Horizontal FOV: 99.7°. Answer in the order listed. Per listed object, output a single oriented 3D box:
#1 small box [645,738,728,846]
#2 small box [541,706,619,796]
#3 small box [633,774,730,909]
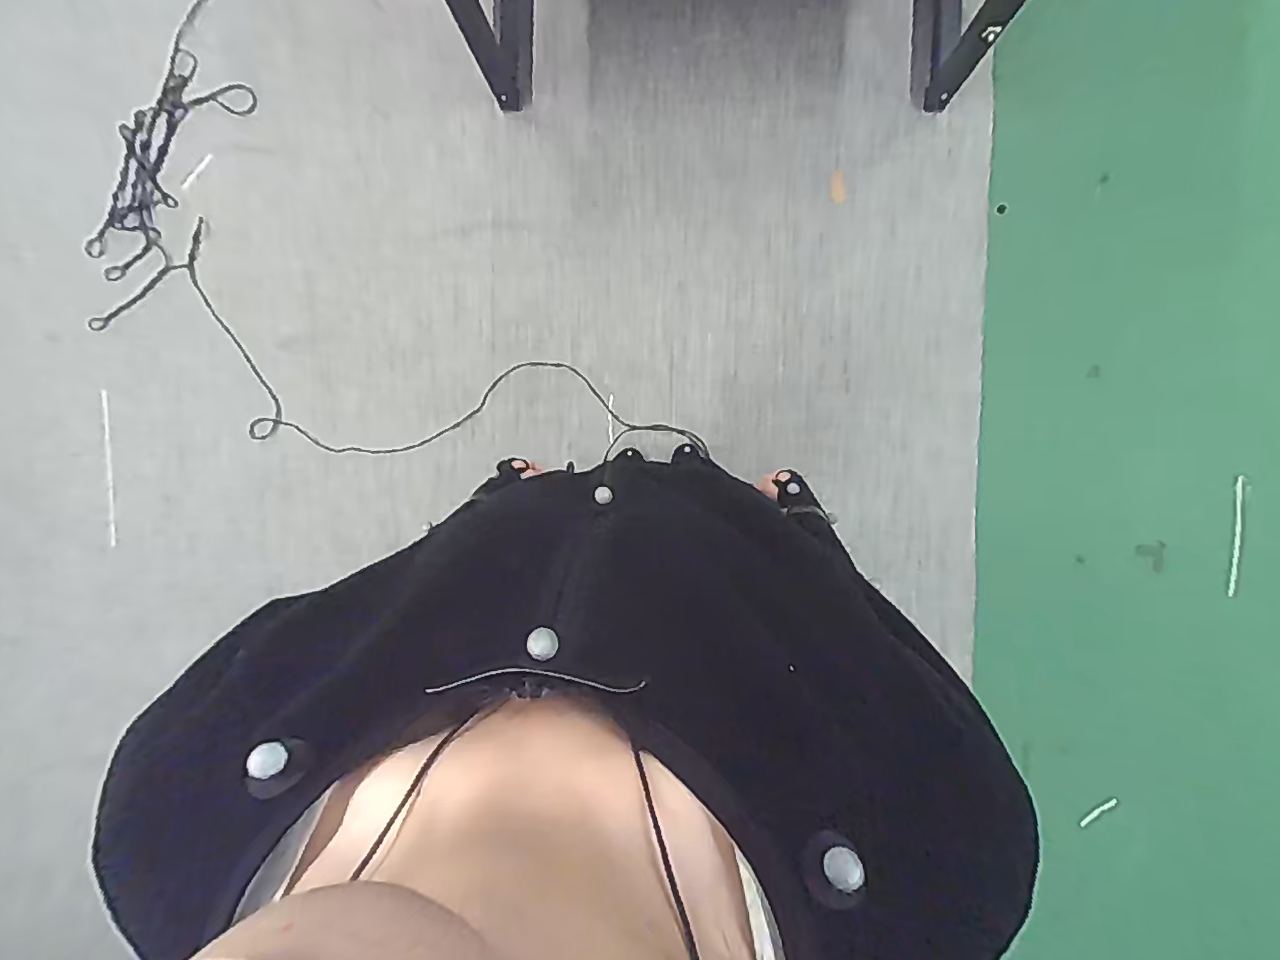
[{"bbox_3d":[0.107,0.716,1.249,0.179,0.176,0.168,-3,90,7],"label":"small box"},{"bbox_3d":[-0.155,0.718,1.441,0.179,0.176,0.168,-2,91,5],"label":"small box"},{"bbox_3d":[0.085,0.715,1.087,0.179,0.176,0.168,-3,89,7],"label":"small box"}]
